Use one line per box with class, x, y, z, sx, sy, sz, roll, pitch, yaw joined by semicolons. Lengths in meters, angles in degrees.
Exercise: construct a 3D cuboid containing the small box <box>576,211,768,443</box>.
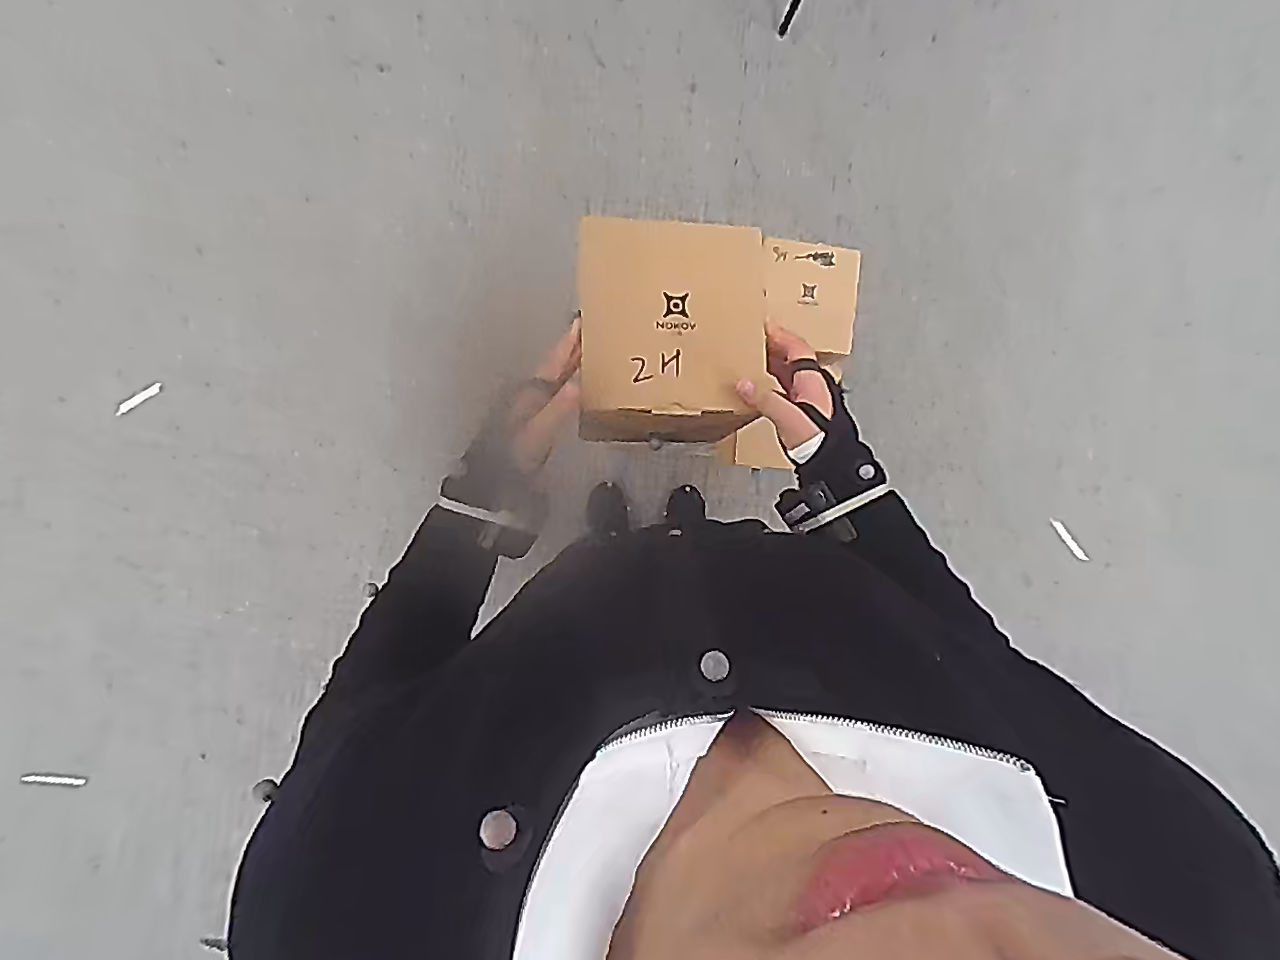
small box;0.020;-0.139;0.549;0.168;0.176;0.179;0;85;-7
